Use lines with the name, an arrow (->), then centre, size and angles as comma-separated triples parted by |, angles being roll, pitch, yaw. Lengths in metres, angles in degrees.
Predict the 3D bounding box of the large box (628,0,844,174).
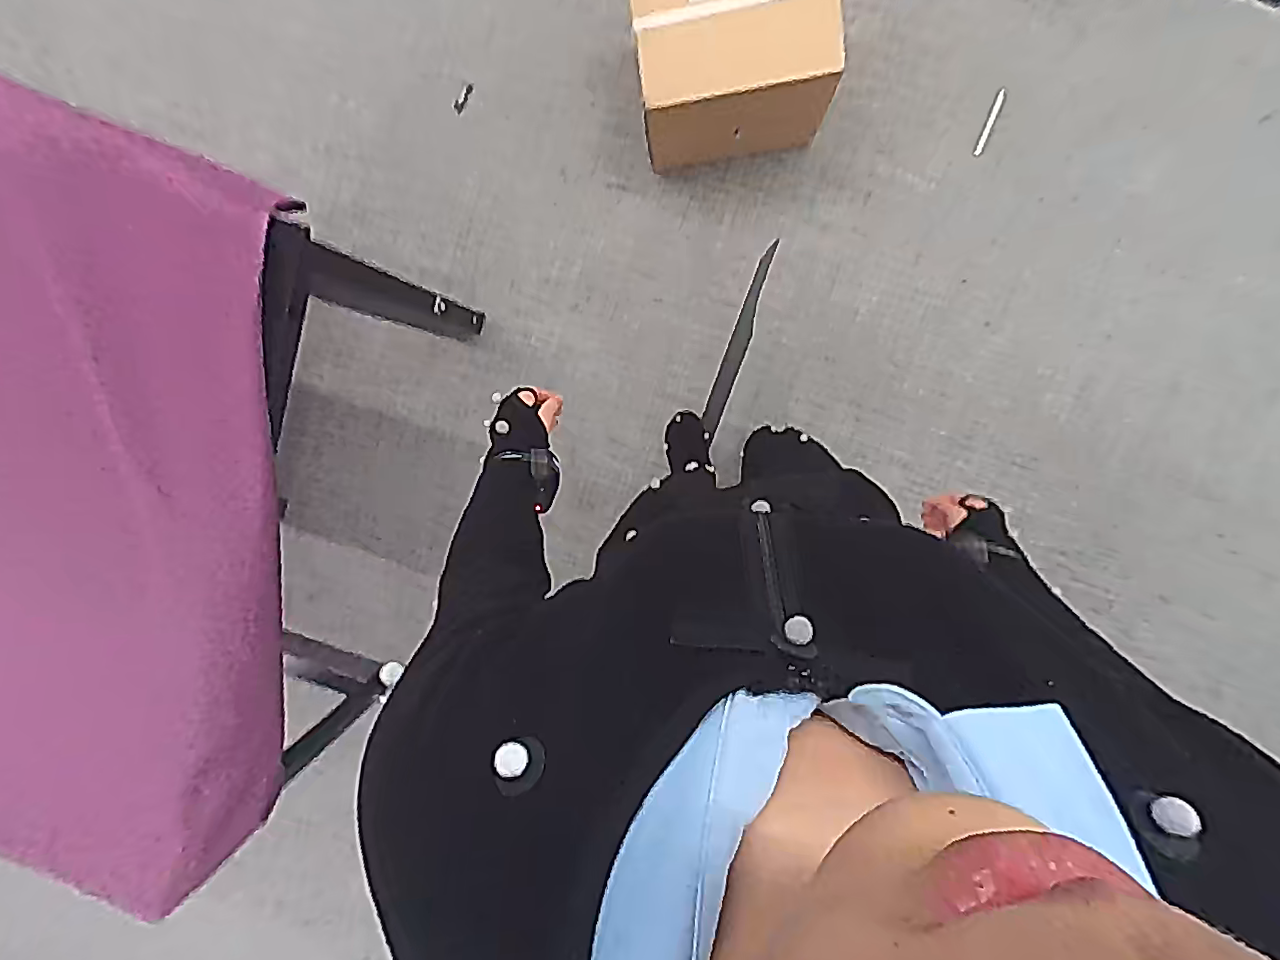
large box -> 0.199, -0.942, 1.210 | 0.408, 0.320, 0.320 | -8, 96, 7
